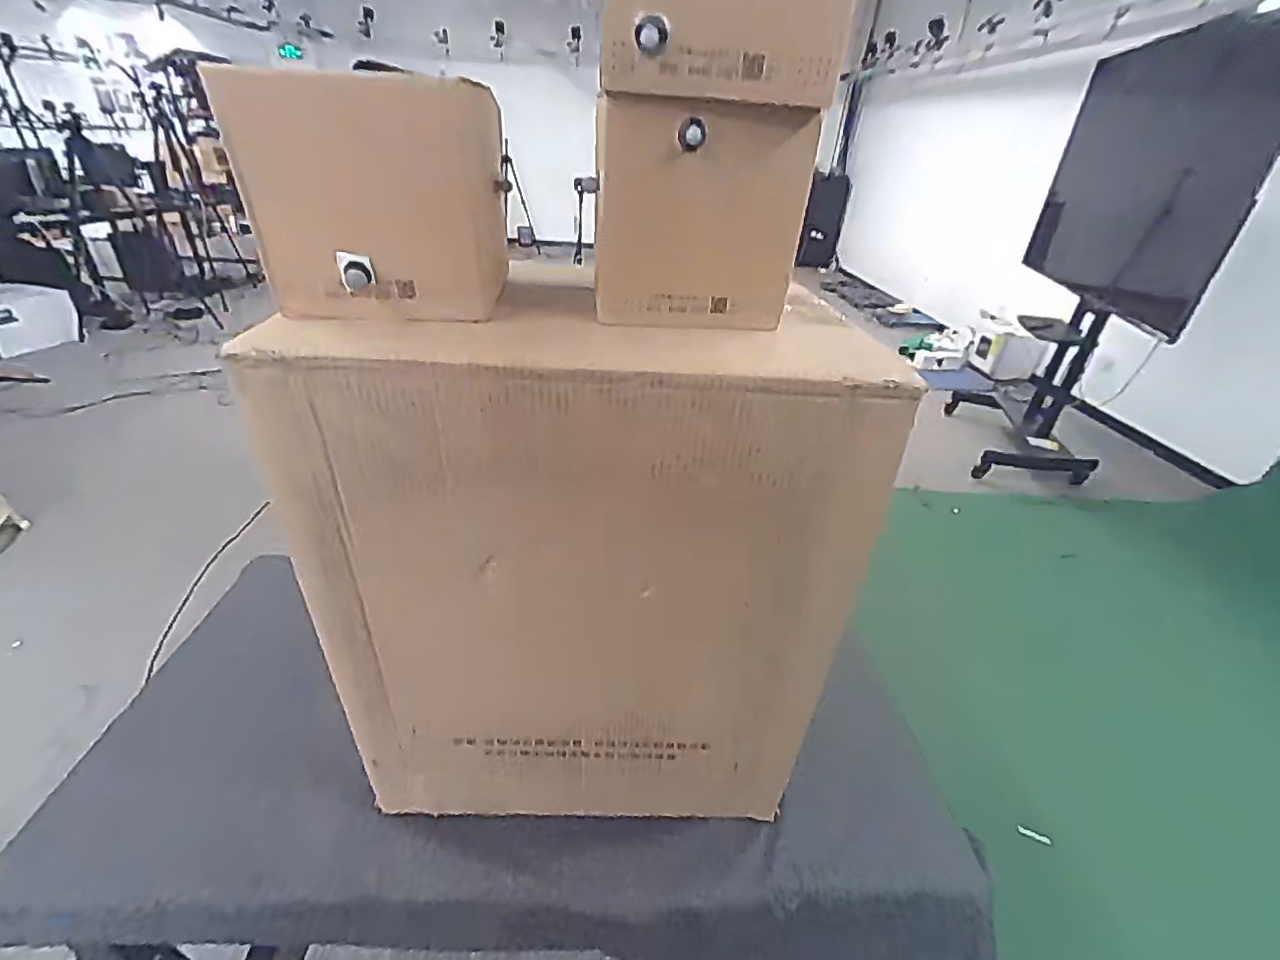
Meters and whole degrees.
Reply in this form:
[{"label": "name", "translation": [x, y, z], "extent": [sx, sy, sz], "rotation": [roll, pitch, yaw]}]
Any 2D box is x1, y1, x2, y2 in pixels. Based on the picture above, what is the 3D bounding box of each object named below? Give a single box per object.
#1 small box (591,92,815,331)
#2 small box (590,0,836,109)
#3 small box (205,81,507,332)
[{"label": "small box", "translation": [0.038, -0.249, 0.504], "extent": [0.168, 0.176, 0.179], "rotation": [-1, 33, -6]}, {"label": "small box", "translation": [0.049, -0.378, 0.402], "extent": [0.168, 0.176, 0.179], "rotation": [2, 34, -3]}, {"label": "small box", "translation": [-0.215, -0.239, 0.473], "extent": [0.168, 0.176, 0.179], "rotation": [-3, 35, -5]}]
